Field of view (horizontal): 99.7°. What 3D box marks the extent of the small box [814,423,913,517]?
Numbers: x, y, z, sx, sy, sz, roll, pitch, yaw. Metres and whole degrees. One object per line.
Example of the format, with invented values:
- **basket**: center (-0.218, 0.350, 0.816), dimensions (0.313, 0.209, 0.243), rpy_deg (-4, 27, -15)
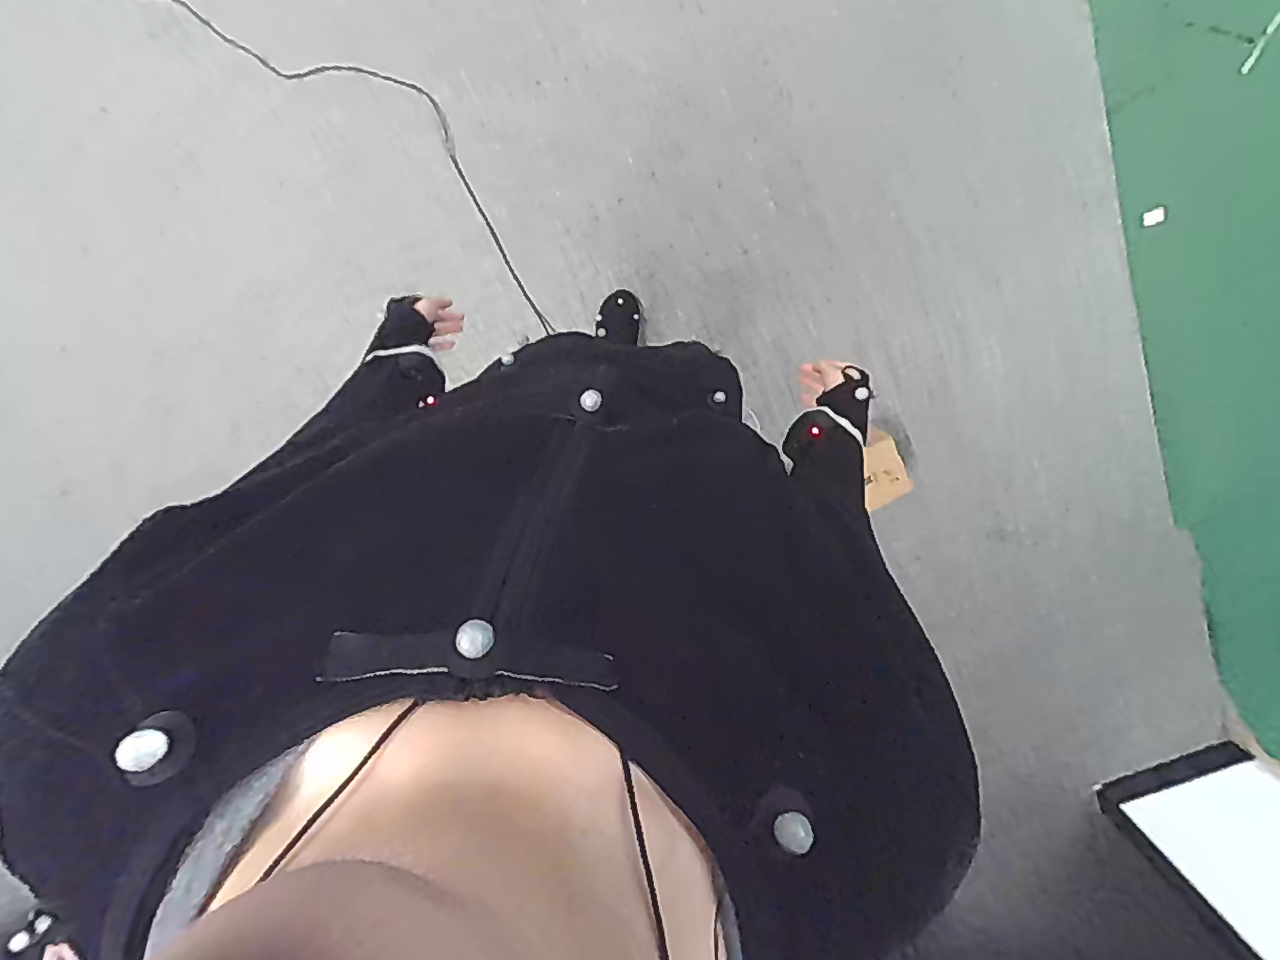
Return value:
- **small box**: center (0.588, -0.032, 1.449), dimensions (0.179, 0.176, 0.168), rpy_deg (-28, 107, 8)
